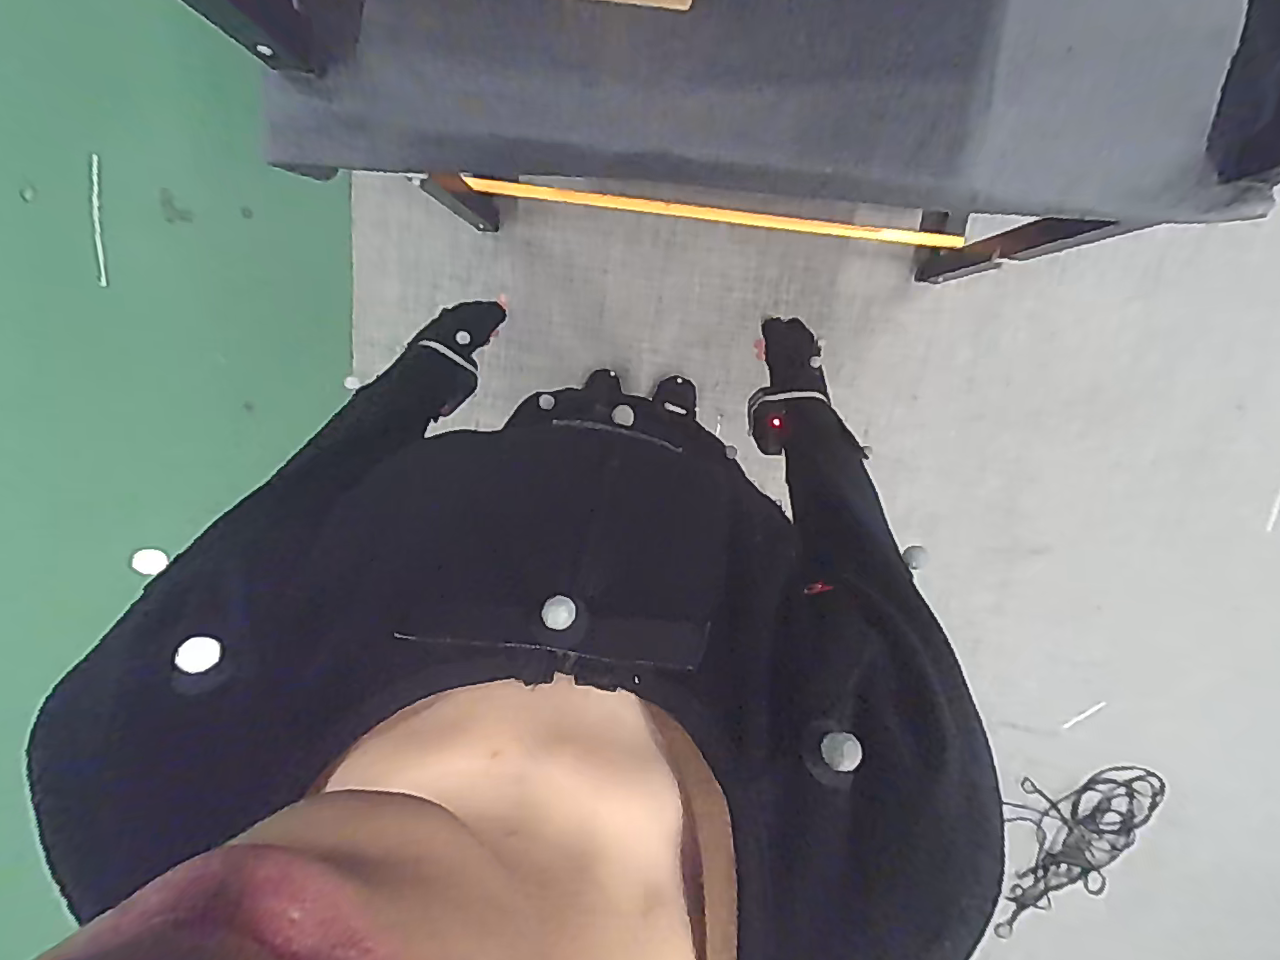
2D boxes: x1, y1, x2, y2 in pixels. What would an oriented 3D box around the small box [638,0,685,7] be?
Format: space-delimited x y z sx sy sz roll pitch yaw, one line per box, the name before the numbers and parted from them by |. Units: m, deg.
small box | -0.018 -0.615 0.527 0.168 0.176 0.179 7 101 0
